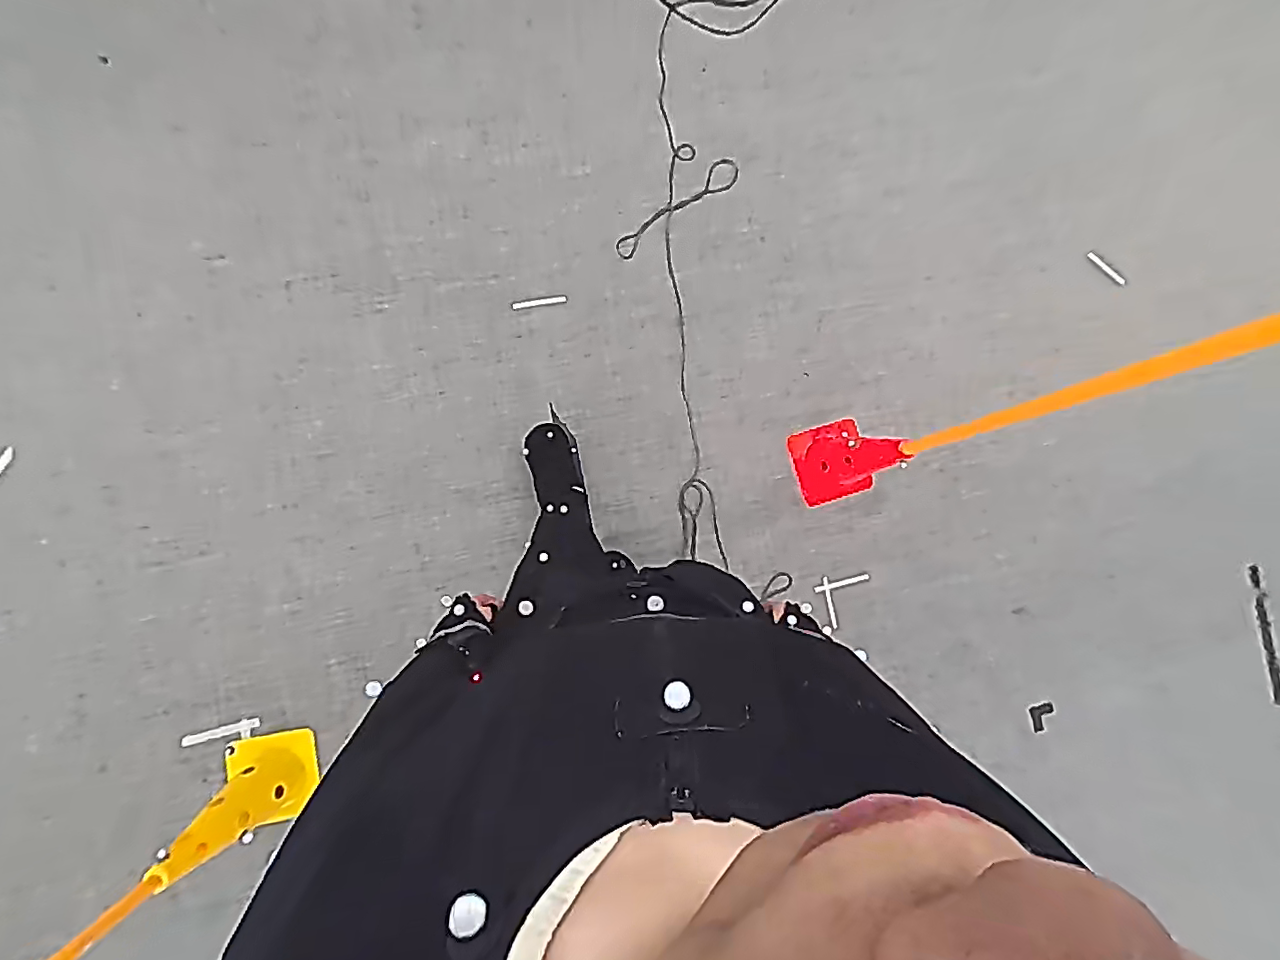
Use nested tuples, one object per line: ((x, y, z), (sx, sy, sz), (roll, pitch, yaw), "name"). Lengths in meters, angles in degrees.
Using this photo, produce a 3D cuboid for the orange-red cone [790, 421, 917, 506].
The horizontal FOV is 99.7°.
((0.520, -0.054, 1.251), (0.199, 0.360, 0.198), (-16, 88, -5), "orange-red cone")
